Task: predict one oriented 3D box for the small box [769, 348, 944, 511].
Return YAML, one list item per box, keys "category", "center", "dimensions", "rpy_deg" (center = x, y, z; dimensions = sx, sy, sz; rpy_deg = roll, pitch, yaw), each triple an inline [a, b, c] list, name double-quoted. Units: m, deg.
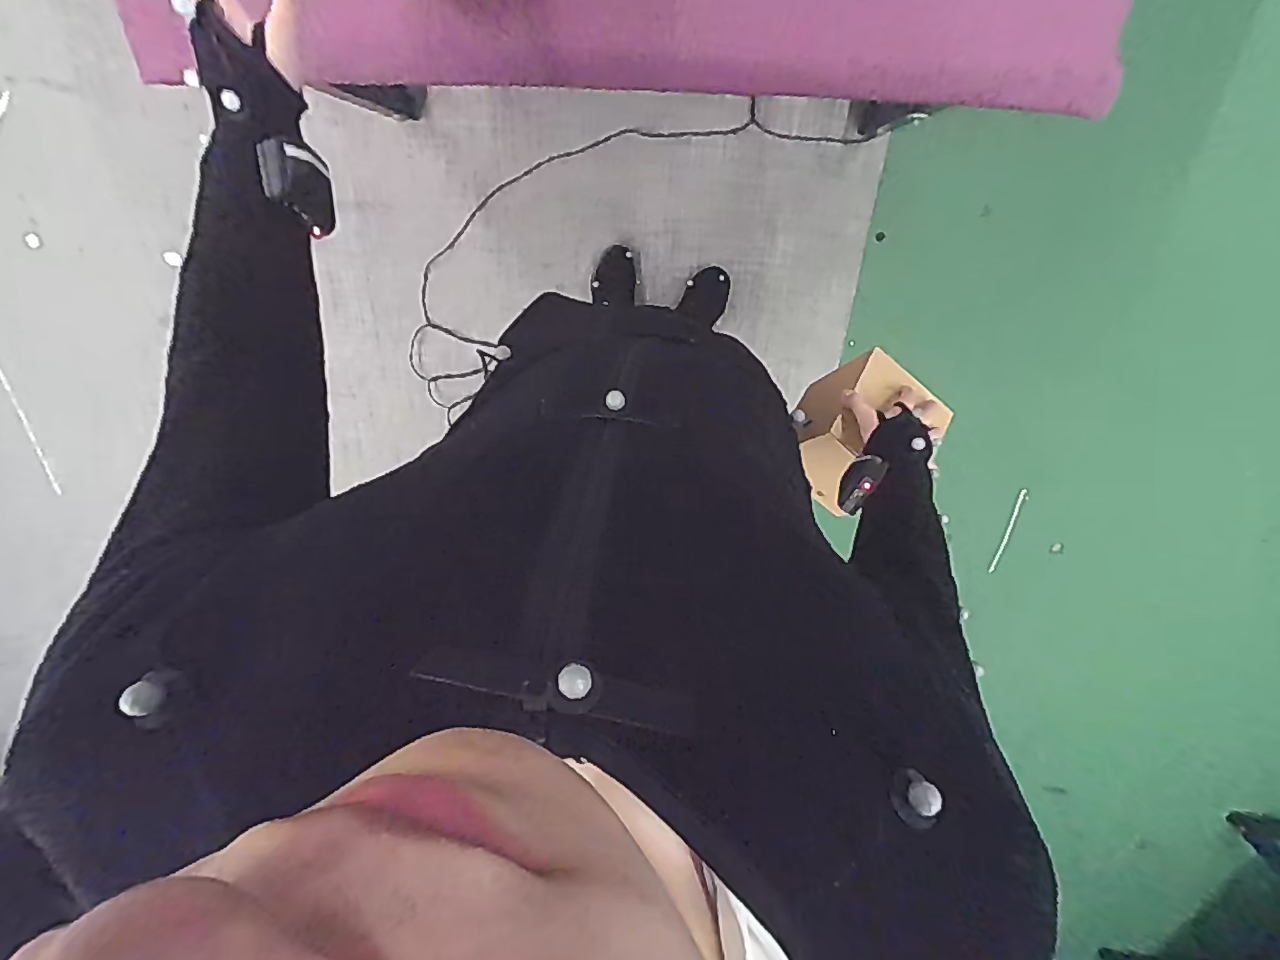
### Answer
- category: "small box"
  center: [0.334, -0.069, 0.866]
  dimensions: [0.168, 0.176, 0.179]
  rpy_deg: [38, 70, -9]
